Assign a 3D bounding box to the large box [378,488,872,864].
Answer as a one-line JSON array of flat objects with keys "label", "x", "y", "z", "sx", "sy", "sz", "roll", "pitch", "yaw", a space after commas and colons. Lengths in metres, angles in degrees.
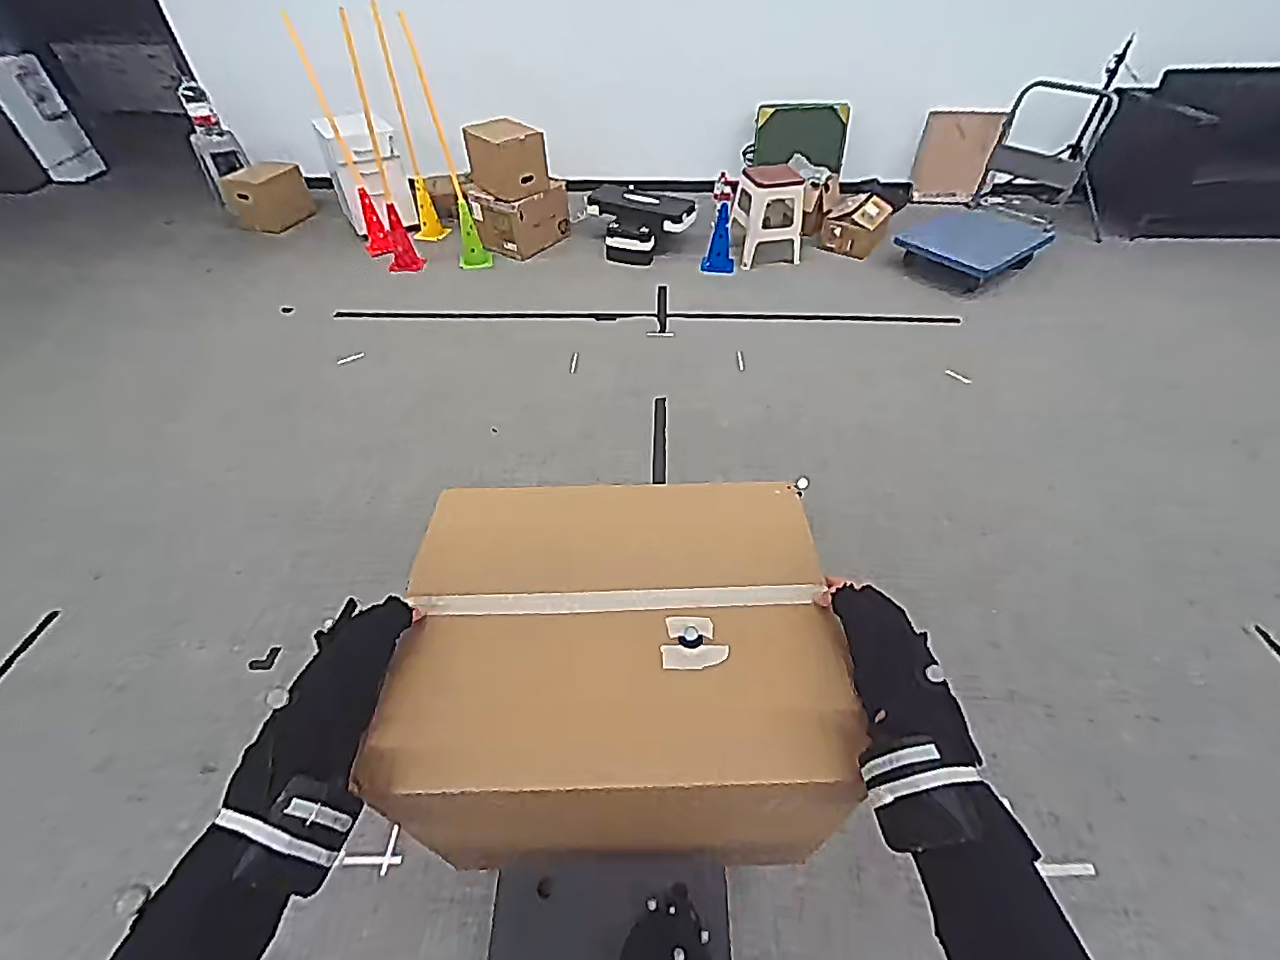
[{"label": "large box", "x": -0.013, "y": 0.229, "z": 0.636, "sx": 0.408, "sy": 0.320, "sz": 0.320, "roll": -1, "pitch": 45, "yaw": 0}]
